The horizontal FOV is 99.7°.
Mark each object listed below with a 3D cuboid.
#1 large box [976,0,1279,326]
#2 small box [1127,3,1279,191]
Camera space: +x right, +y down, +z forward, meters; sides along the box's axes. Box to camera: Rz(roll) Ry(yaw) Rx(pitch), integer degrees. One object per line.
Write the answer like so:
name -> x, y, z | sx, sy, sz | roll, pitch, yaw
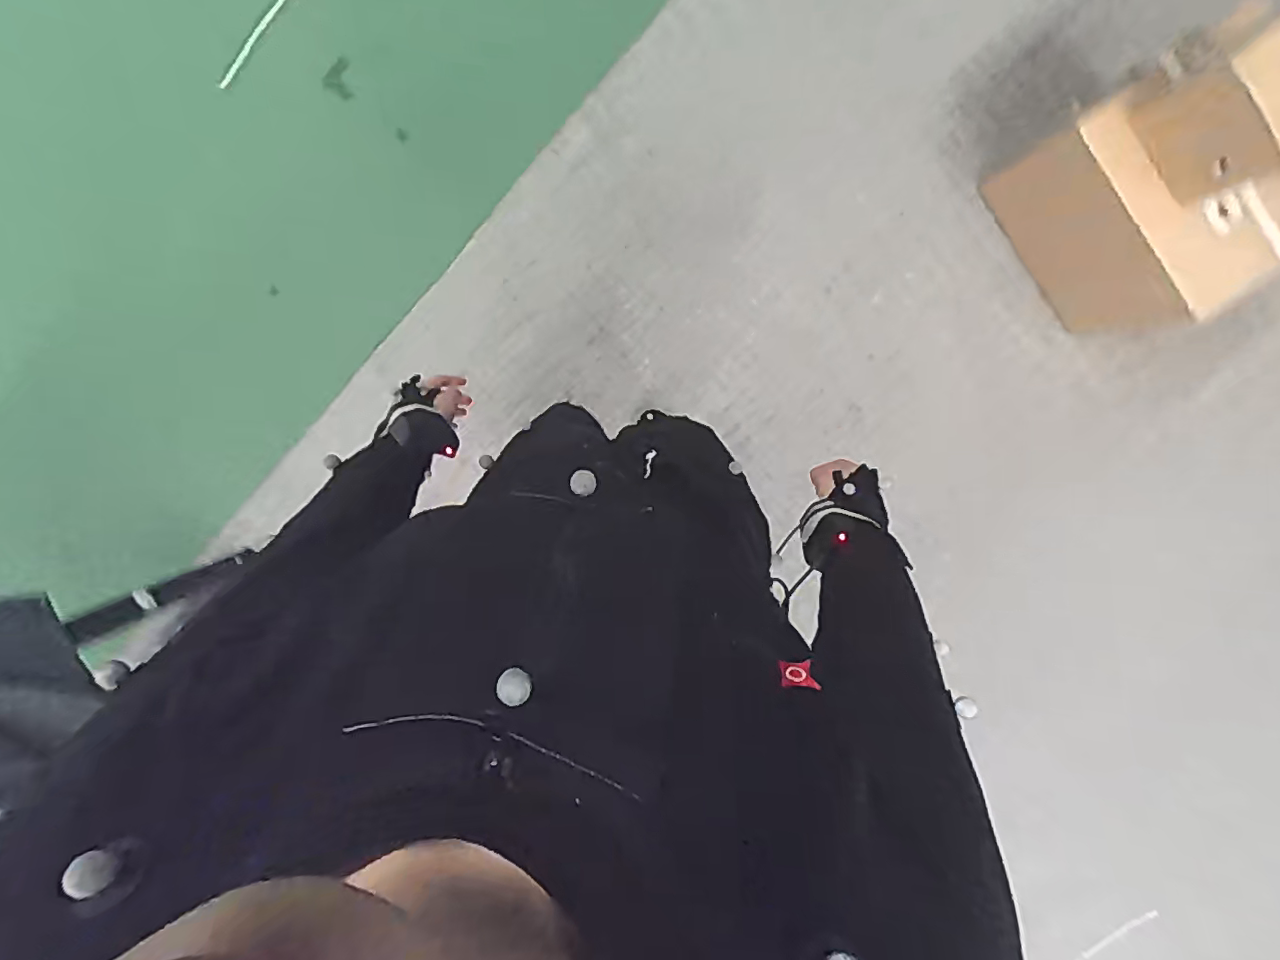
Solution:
large box -> 0.959, -0.558, 1.033 | 0.320, 0.320, 0.408 | -38, 97, 11
small box -> 0.890, -0.558, 0.790 | 0.168, 0.176, 0.179 | -39, 95, 9
